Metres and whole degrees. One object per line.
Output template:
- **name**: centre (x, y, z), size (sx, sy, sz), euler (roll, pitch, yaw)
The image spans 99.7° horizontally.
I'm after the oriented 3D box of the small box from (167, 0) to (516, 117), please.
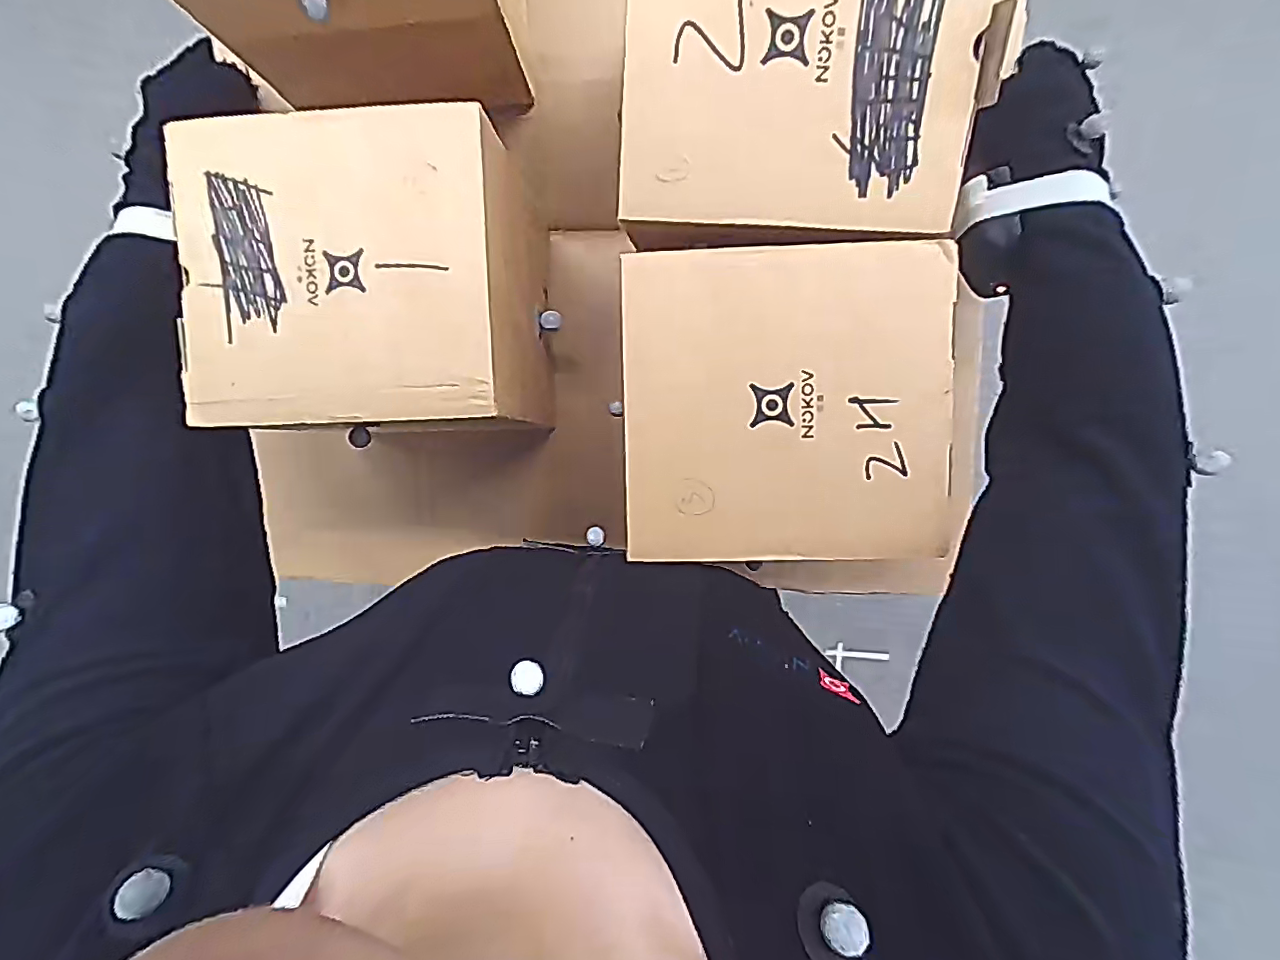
- **small box**: centre (-0.183, -0.358, 0.328), size (0.179, 0.176, 0.168), euler (-5, 95, 4)
